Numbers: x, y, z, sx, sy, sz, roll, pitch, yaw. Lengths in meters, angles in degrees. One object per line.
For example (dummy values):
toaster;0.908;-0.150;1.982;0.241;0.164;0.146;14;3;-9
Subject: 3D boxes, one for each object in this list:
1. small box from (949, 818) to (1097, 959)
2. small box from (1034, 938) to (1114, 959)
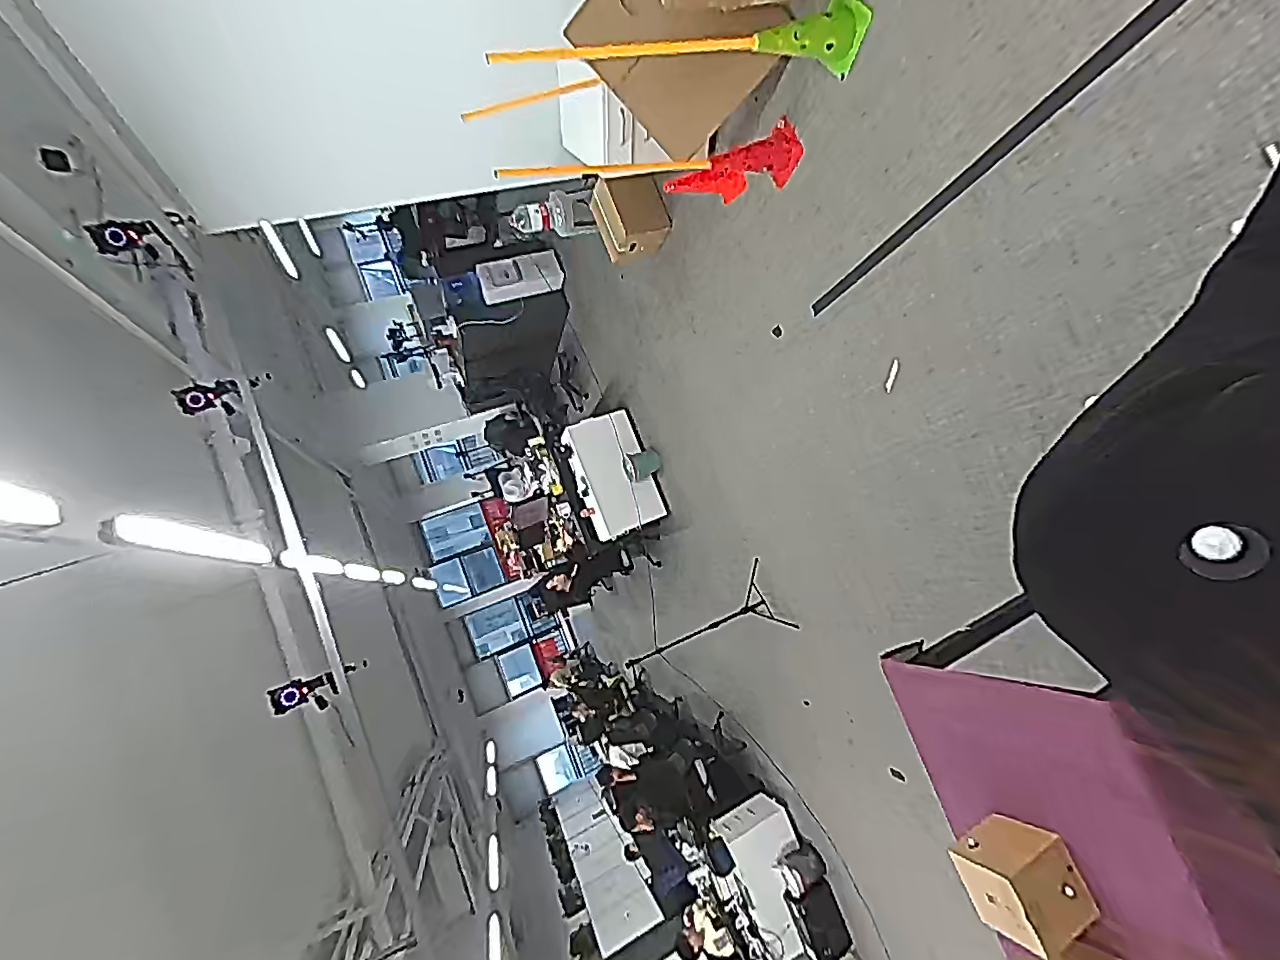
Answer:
small box;0.850;0.894;1.207;0.168;0.176;0.179;66;161;10
small box;0.958;1.130;1.149;0.168;0.176;0.179;65;161;18
